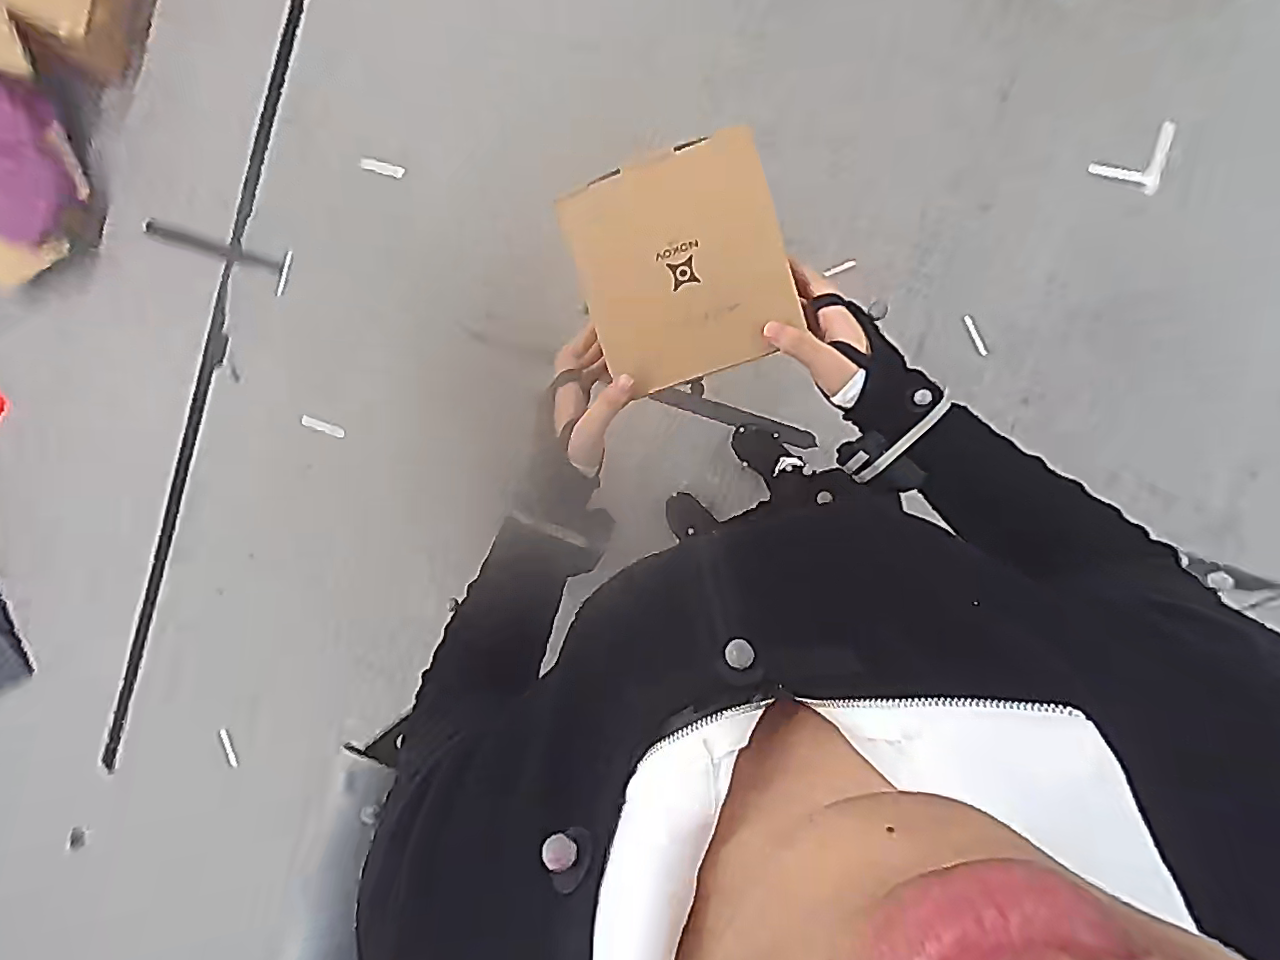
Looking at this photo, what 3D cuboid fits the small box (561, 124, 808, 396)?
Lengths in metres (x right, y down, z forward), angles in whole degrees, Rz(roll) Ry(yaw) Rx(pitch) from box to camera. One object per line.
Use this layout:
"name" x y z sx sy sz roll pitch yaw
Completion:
"small box" 0.040 -0.185 0.514 0.168 0.176 0.179 -17 99 7
